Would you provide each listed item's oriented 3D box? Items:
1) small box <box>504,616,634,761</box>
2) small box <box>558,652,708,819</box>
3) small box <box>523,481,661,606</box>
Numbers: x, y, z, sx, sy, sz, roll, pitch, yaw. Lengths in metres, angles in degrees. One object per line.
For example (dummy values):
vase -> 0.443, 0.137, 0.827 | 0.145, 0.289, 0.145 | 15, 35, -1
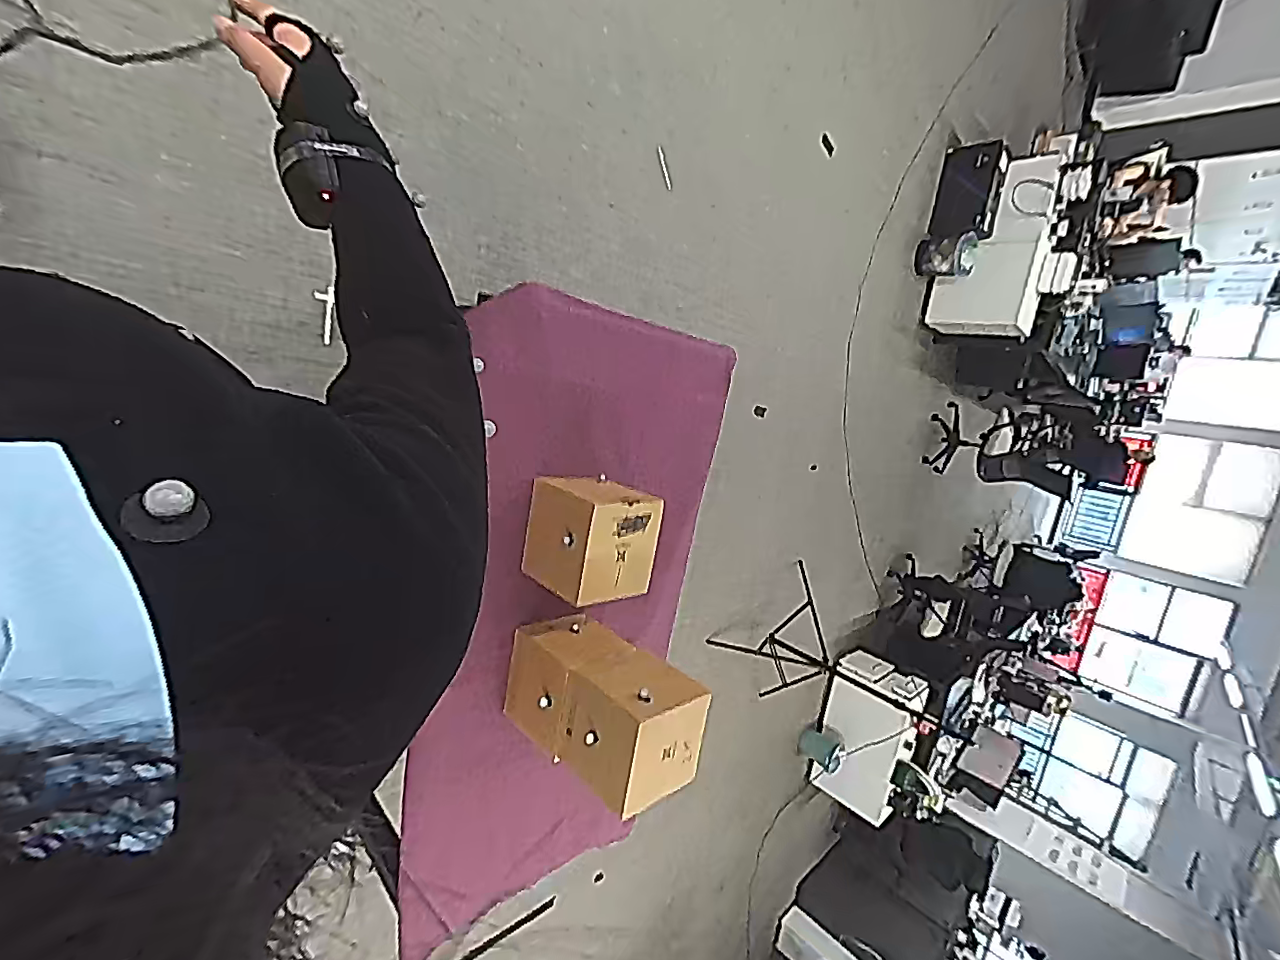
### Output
small box -> -0.137, 0.379, 1.015 | 0.168, 0.176, 0.179 | 2, 101, -46
small box -> -0.016, 0.411, 0.908 | 0.179, 0.176, 0.168 | 2, 102, -46
small box -> -0.090, 0.102, 0.965 | 0.168, 0.176, 0.179 | 2, 103, -46
